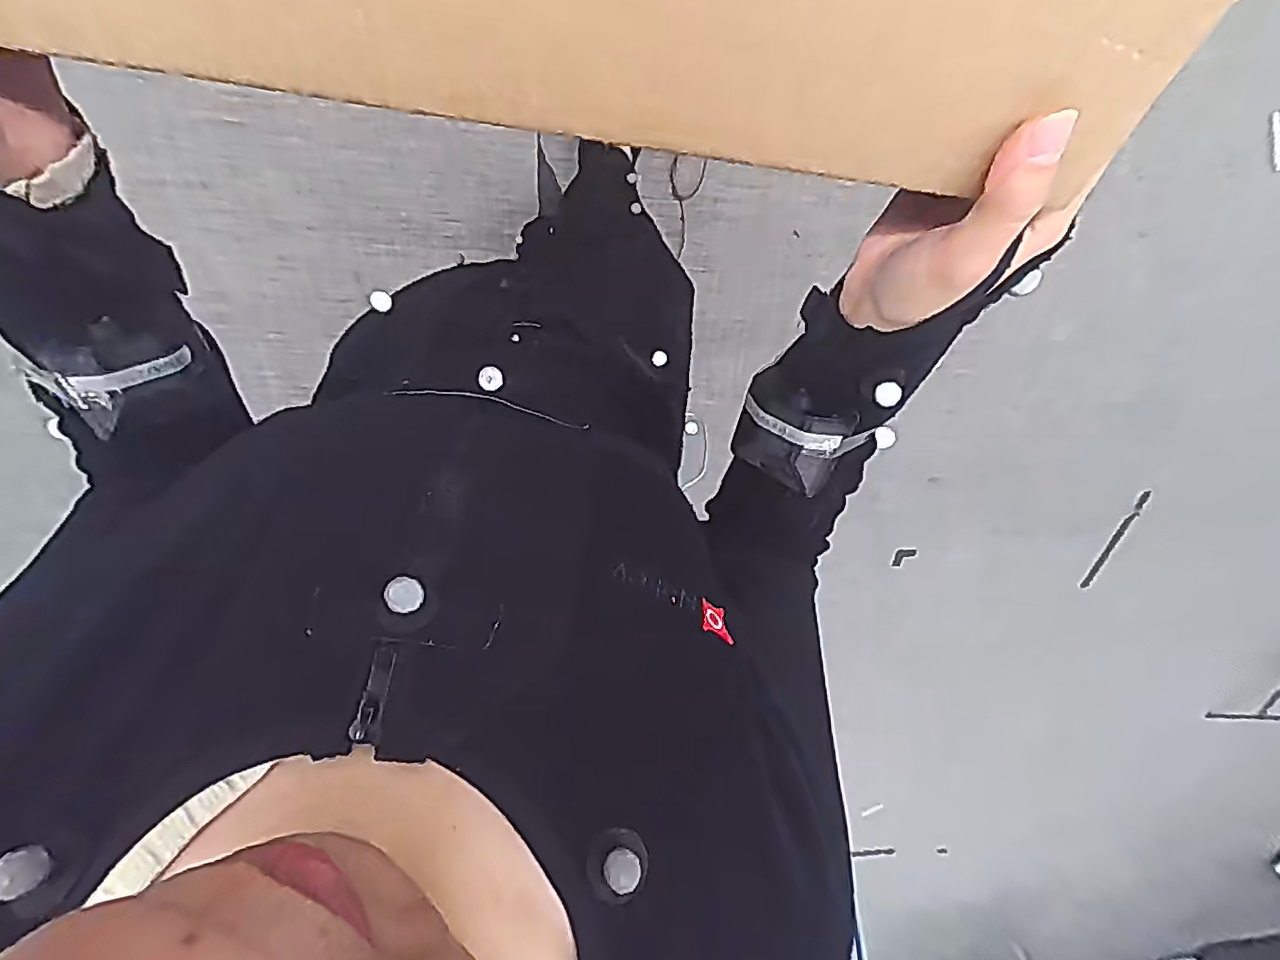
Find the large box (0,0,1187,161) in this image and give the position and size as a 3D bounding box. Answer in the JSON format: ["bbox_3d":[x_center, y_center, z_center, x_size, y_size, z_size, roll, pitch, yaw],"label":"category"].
[{"bbox_3d":[-0.020,-0.339,0.150,0.408,0.320,0.320,4,145,-6],"label":"large box"}]
